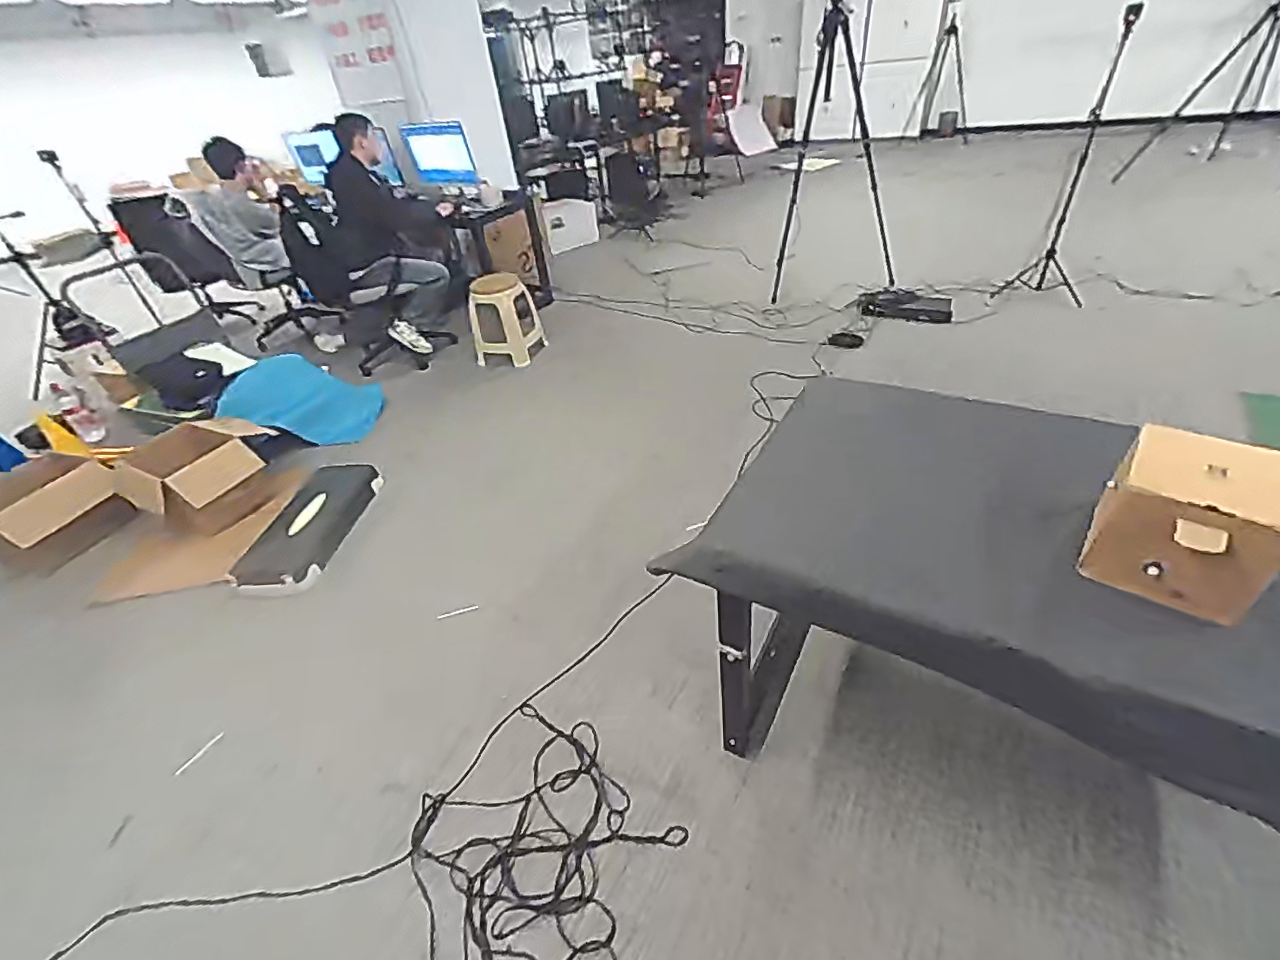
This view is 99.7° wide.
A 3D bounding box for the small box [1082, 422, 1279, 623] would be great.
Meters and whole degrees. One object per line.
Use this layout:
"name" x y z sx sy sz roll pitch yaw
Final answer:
"small box" 0.736 0.053 0.728 0.168 0.176 0.179 25 48 34
